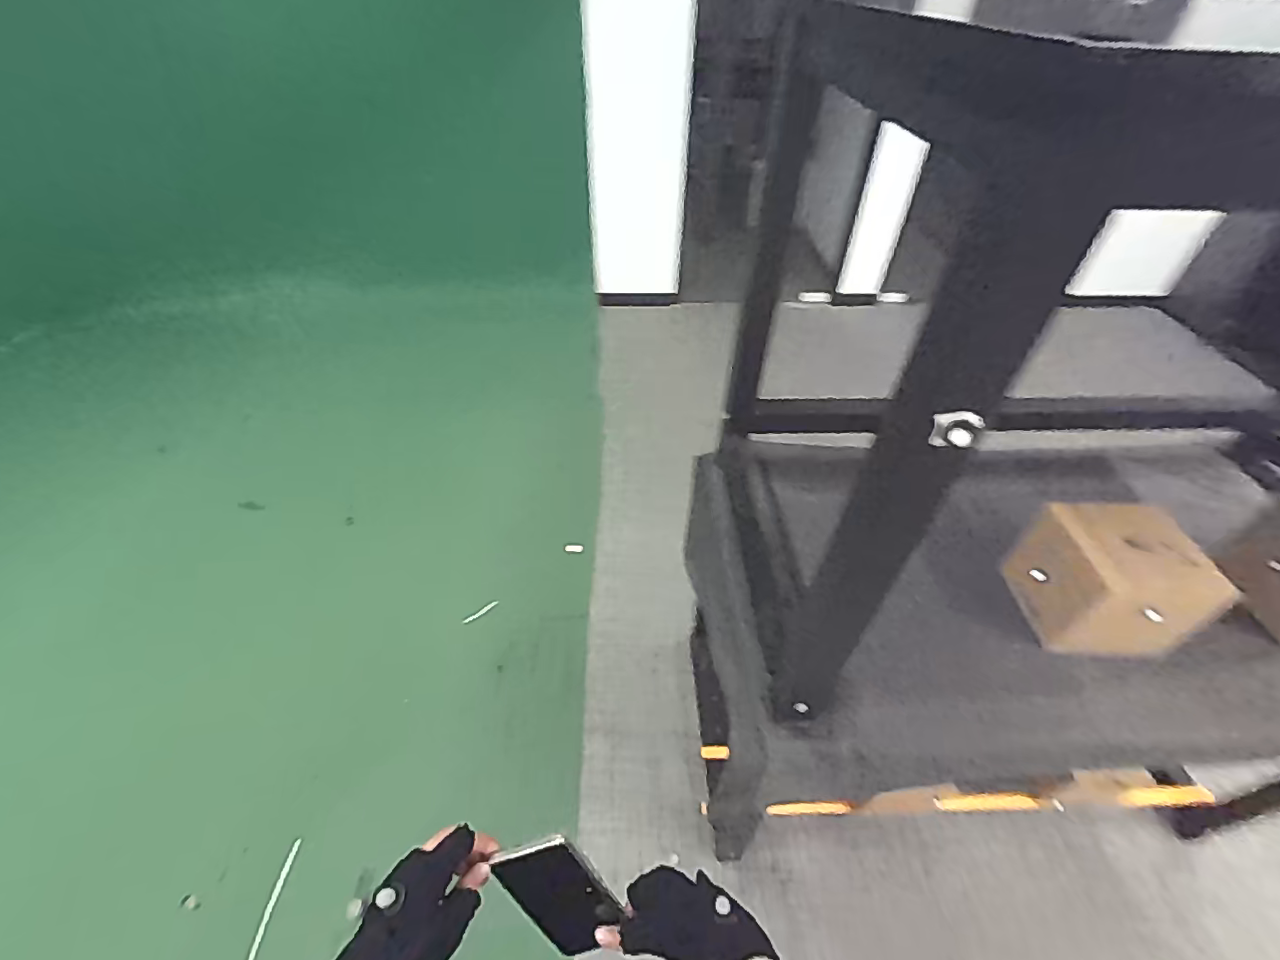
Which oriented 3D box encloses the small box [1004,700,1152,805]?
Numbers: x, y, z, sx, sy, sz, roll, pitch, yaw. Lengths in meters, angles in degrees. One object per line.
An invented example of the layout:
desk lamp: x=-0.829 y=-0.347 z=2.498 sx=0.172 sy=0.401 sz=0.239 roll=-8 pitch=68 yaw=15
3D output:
small box: x=0.985 y=0.626 z=1.237 sx=0.168 sy=0.176 sz=0.179 roll=2 pitch=44 yaw=0

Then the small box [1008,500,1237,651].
small box: x=0.708 y=0.148 z=0.828 sx=0.179 sy=0.176 sz=0.168 roll=1 pitch=44 yaw=0
